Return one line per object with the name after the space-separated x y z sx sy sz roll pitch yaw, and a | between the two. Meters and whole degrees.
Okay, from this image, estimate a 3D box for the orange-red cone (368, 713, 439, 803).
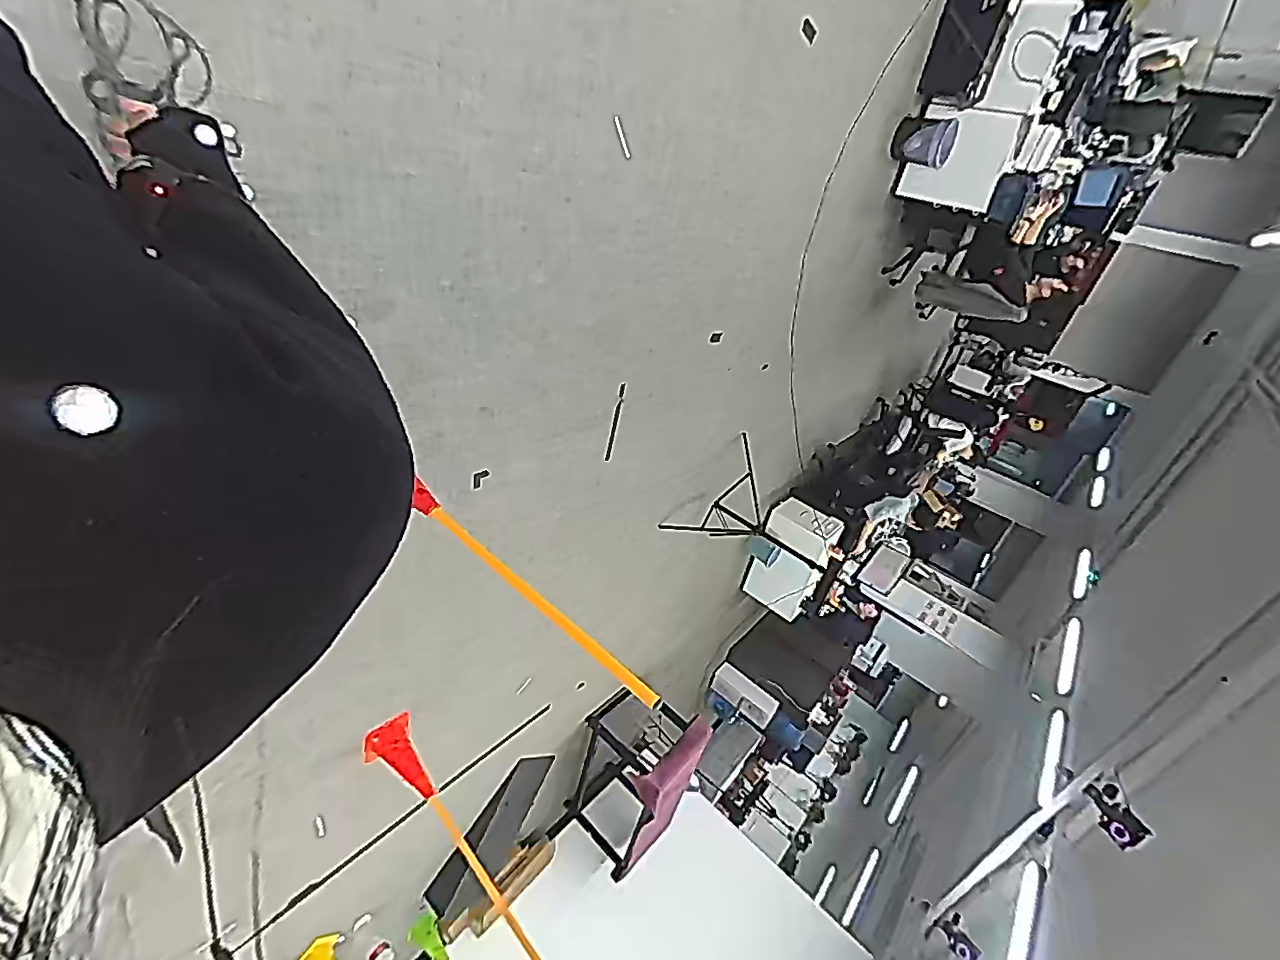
-0.948 1.194 2.248 0.198 0.360 0.199 -20 134 -47 | orange-red cone
